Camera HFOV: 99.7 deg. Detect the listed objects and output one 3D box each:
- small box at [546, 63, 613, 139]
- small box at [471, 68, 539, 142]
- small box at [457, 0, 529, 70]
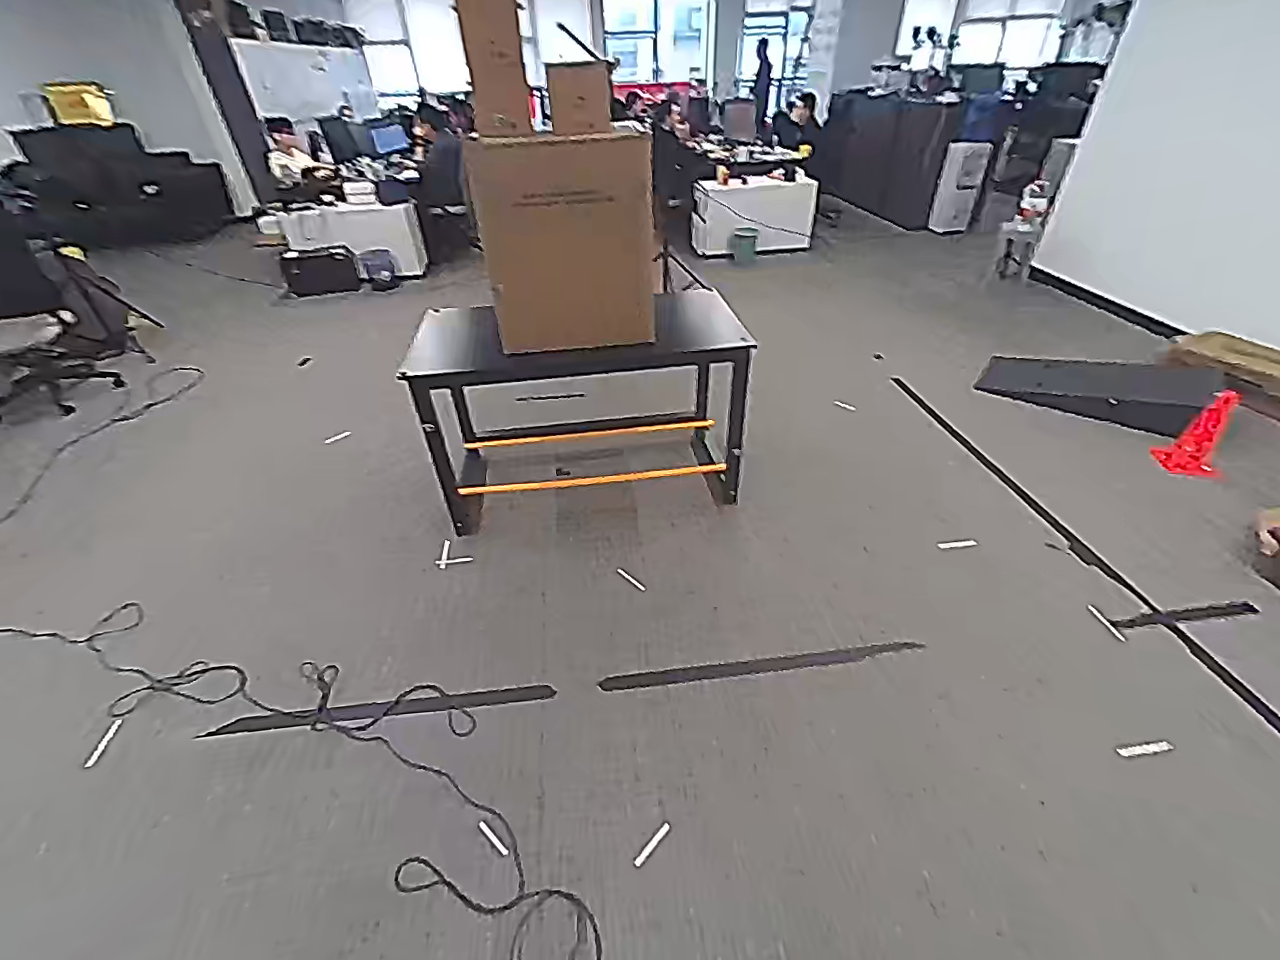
[{"bbox_3d":[-0.176,-1.107,1.582,0.168,0.176,0.179,-10,40,-8],"label":"small box"},{"bbox_3d":[-0.394,-1.103,1.590,0.168,0.176,0.179,-9,40,-9],"label":"small box"},{"bbox_3d":[-0.400,-1.232,1.486,0.168,0.176,0.179,-8,38,-7],"label":"small box"}]
